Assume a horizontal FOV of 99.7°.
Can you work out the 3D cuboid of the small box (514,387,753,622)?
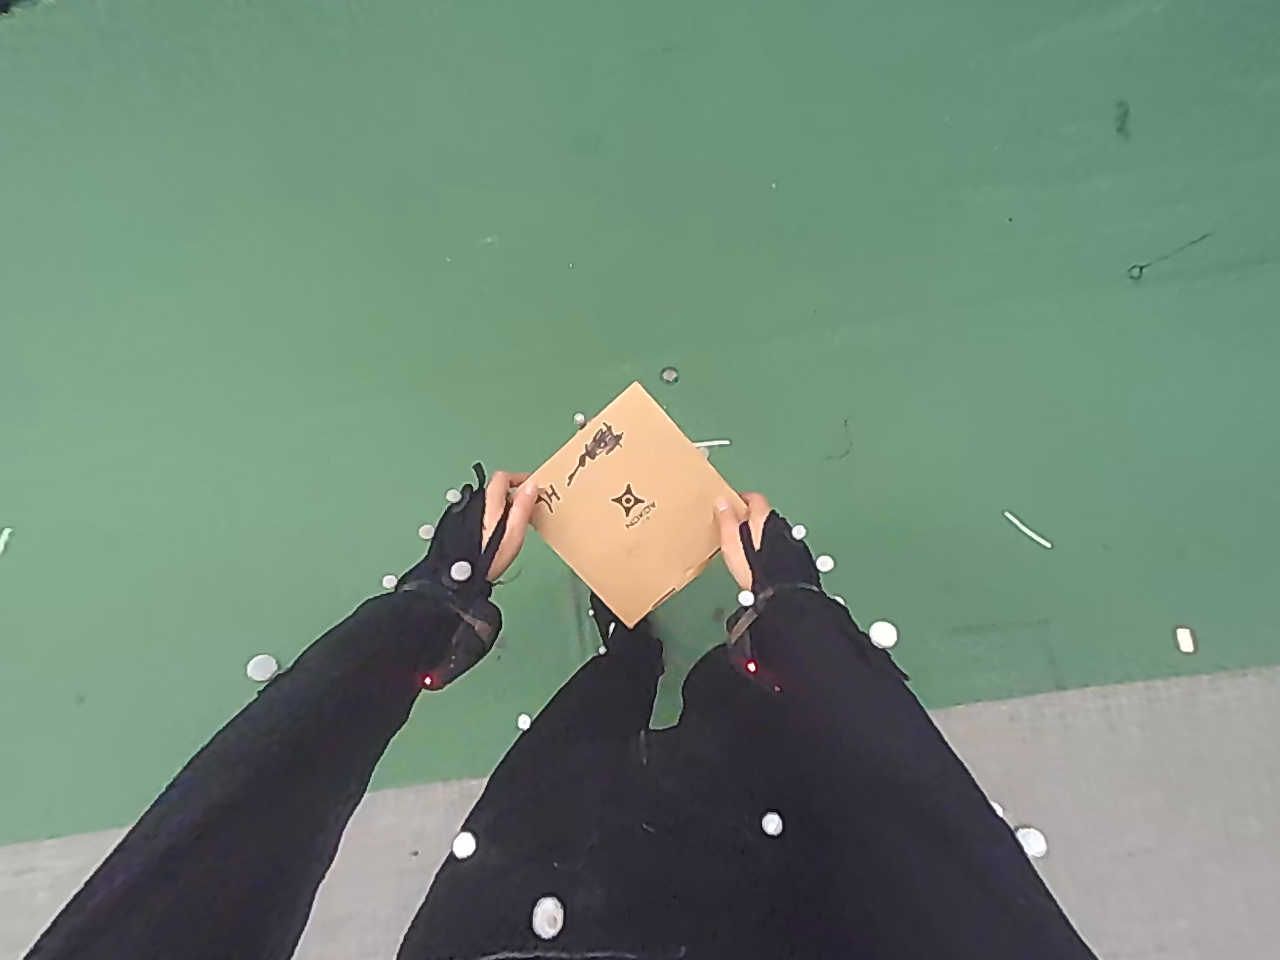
[{"bbox_3d":[-0.008,0.017,0.598,0.168,0.176,0.179,-42,96,2],"label":"small box"}]
